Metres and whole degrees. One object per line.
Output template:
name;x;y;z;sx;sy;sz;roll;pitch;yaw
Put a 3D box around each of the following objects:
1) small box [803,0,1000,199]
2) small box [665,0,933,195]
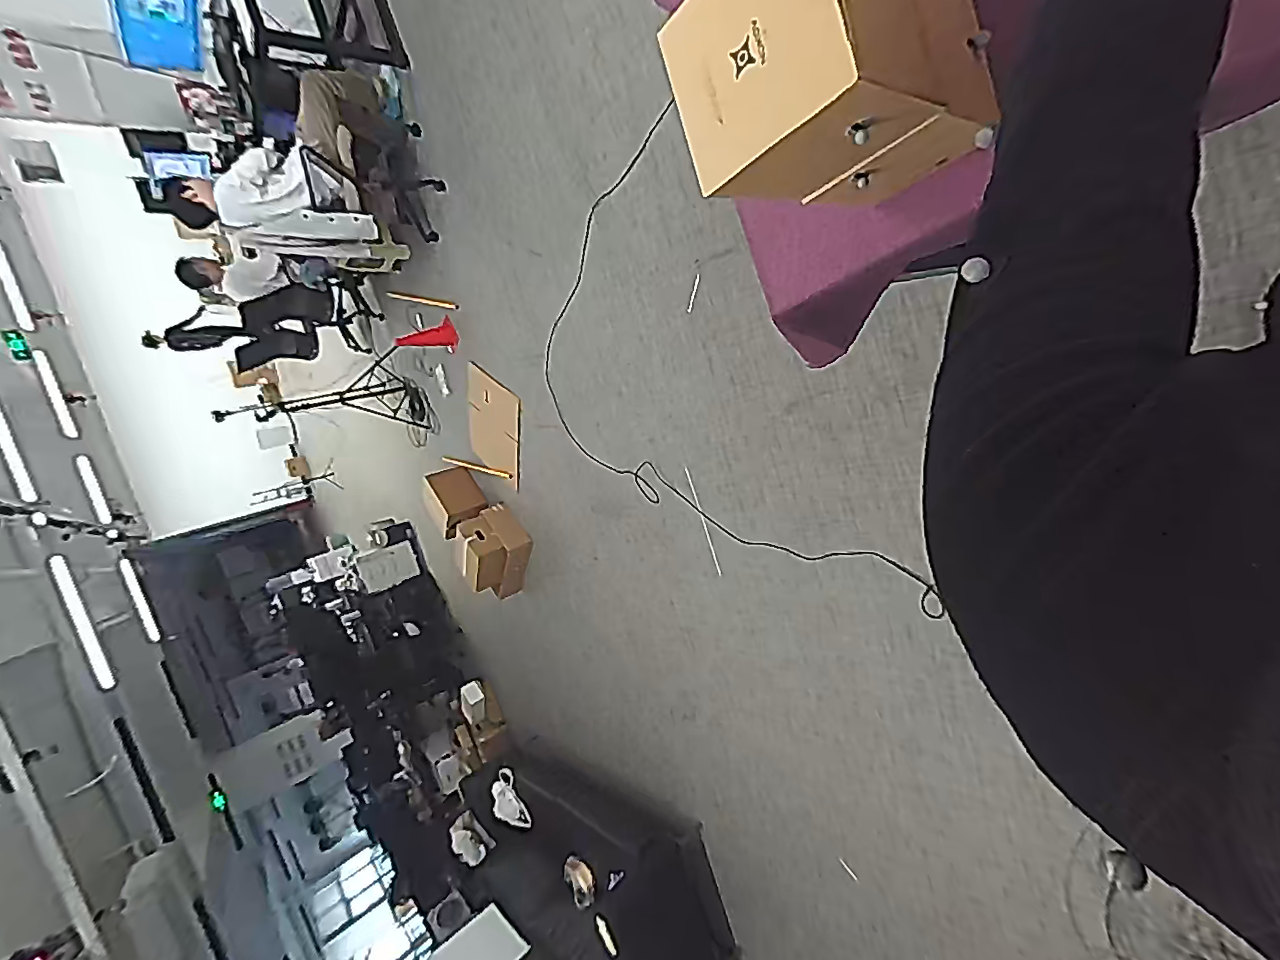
small box;0.281;-0.448;0.623;0.168;0.176;0.179;-11;97;53
small box;0.158;-0.401;0.525;0.179;0.176;0.168;-9;99;53
